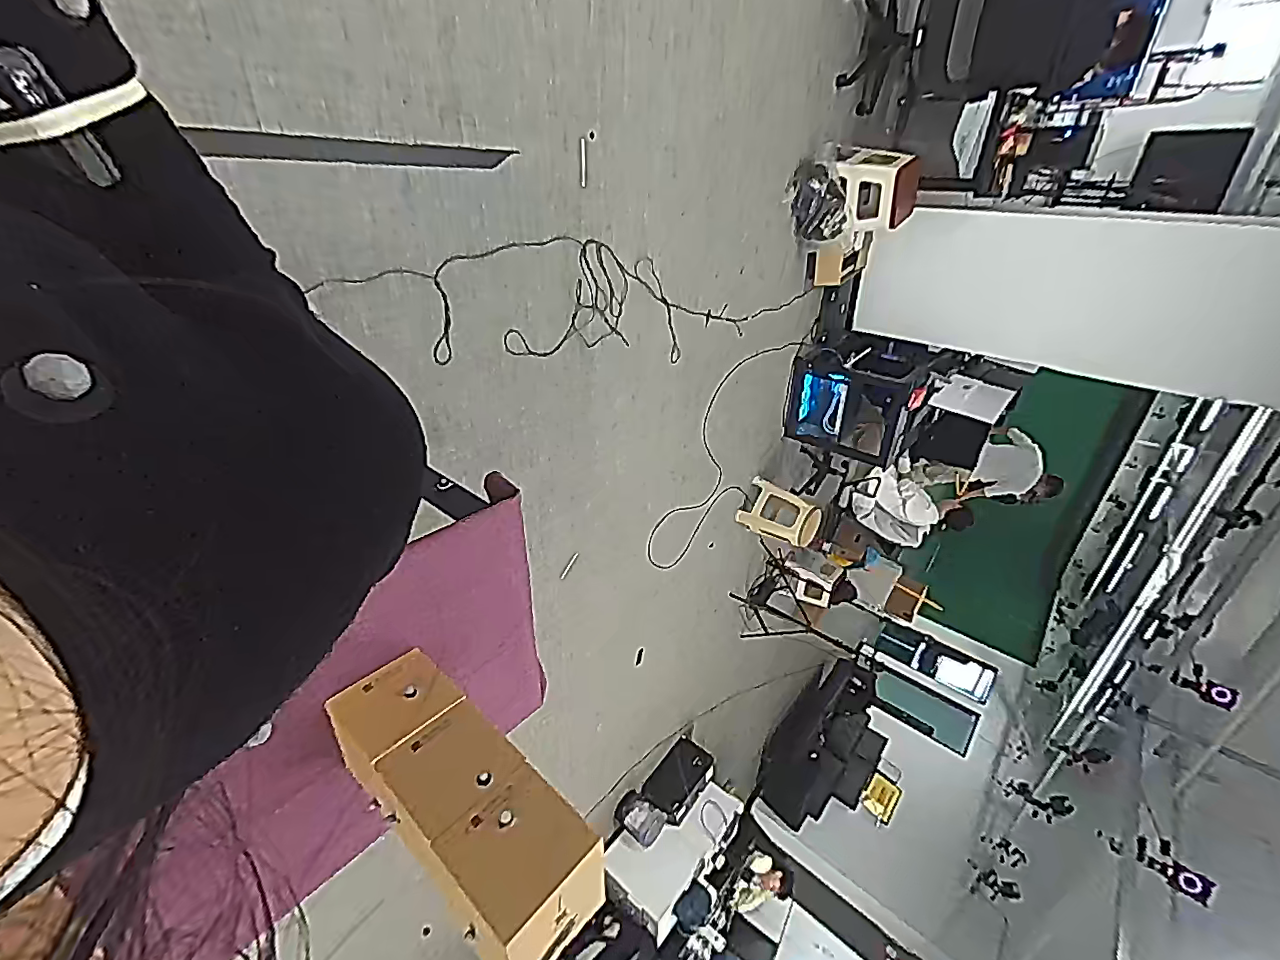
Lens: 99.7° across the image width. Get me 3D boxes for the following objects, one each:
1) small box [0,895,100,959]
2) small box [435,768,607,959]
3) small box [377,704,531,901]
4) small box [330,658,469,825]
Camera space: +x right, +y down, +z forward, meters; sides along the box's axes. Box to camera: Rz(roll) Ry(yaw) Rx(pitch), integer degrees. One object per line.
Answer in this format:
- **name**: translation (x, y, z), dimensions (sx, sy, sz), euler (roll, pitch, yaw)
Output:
- **small box**: translation (-0.738, 0.637, 0.617), dimensions (0.168, 0.176, 0.179), euler (-24, 128, -46)
- **small box**: translation (-0.165, 0.556, 0.764), dimensions (0.168, 0.176, 0.179), euler (-28, 130, -43)
- **small box**: translation (-0.287, 0.501, 0.859), dimensions (0.168, 0.176, 0.179), euler (-29, 132, -42)
- **small box**: translation (-0.412, 0.441, 0.947), dimensions (0.168, 0.176, 0.179), euler (-28, 131, -43)
